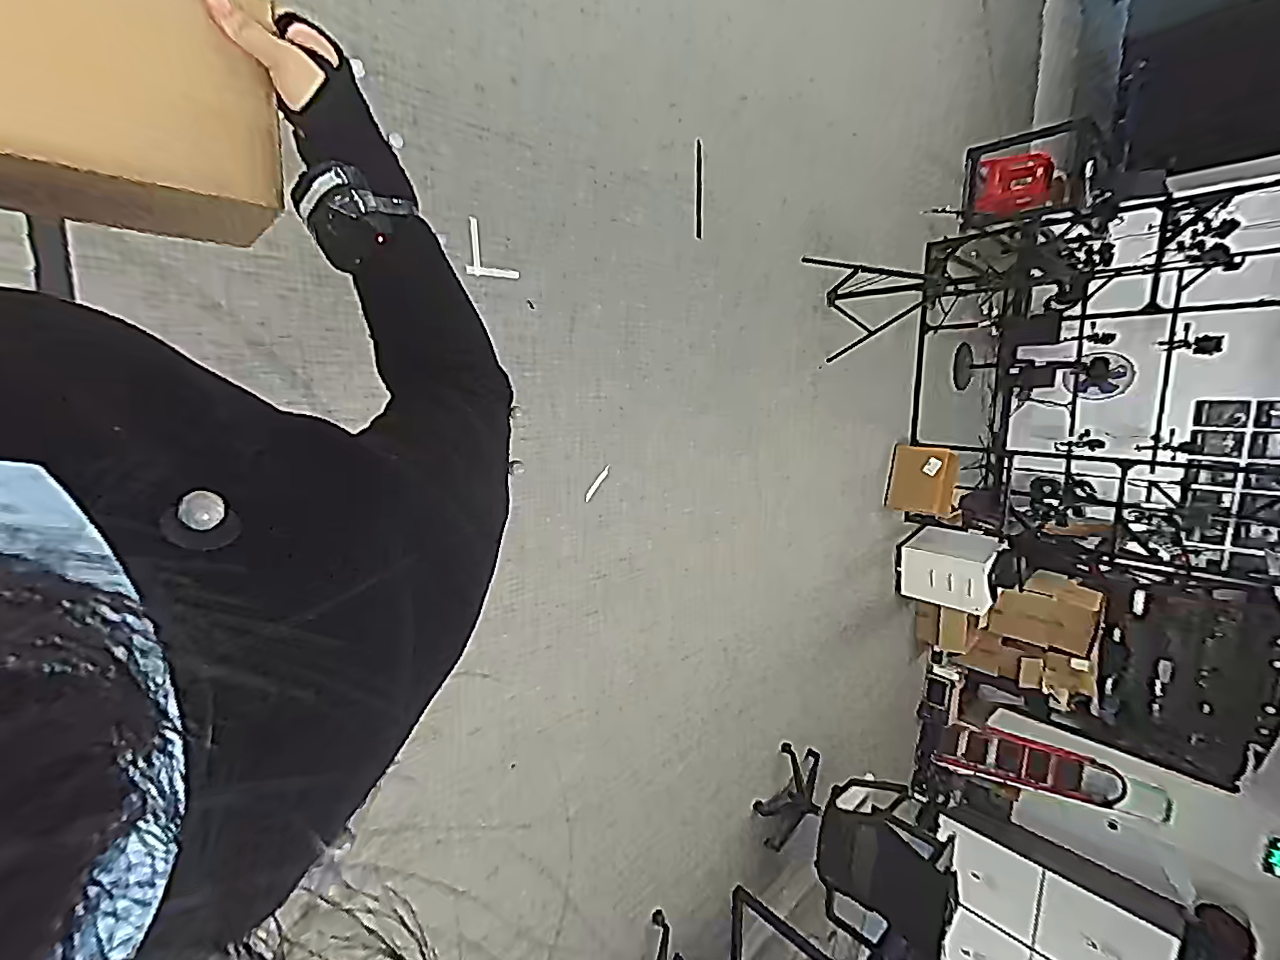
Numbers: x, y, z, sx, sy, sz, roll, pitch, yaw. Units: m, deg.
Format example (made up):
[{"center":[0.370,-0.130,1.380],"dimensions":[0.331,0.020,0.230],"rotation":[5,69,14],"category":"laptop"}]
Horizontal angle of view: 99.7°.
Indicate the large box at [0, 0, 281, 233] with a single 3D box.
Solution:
[{"center":[-0.533,-0.398,0.404],"dimensions":[0.408,0.320,0.320],"rotation":[-6,105,-38],"category":"large box"}]
